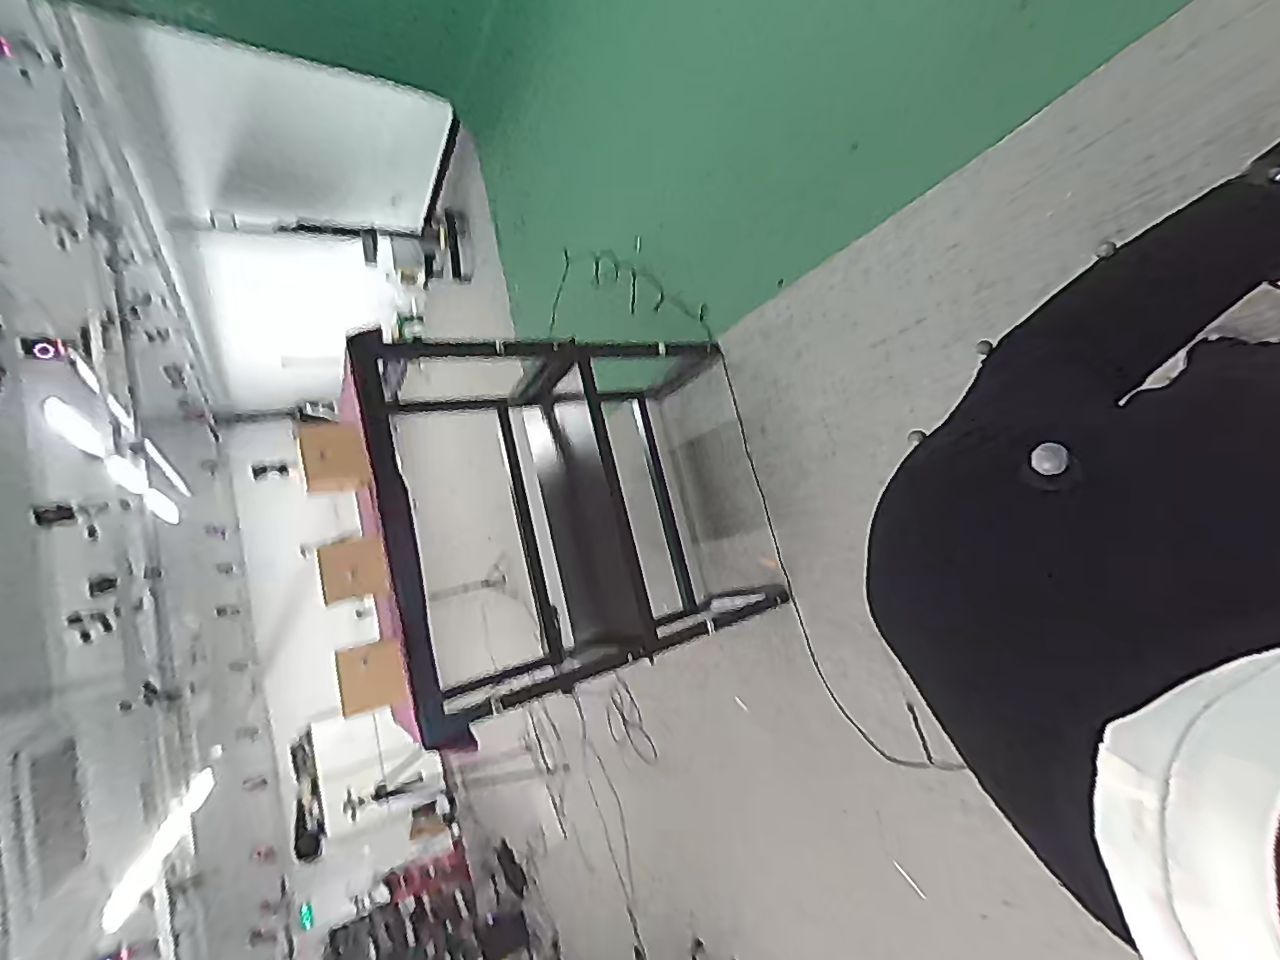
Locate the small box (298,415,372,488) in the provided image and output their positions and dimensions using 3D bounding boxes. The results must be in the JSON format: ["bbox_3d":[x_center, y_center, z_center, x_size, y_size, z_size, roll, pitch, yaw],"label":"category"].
[{"bbox_3d":[-0.913,-0.086,1.620,0.168,0.176,0.179,-24,77,55],"label":"small box"}]

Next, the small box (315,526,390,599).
[{"bbox_3d":[-0.843,0.242,1.589,0.168,0.176,0.179,-19,81,57],"label":"small box"}]
